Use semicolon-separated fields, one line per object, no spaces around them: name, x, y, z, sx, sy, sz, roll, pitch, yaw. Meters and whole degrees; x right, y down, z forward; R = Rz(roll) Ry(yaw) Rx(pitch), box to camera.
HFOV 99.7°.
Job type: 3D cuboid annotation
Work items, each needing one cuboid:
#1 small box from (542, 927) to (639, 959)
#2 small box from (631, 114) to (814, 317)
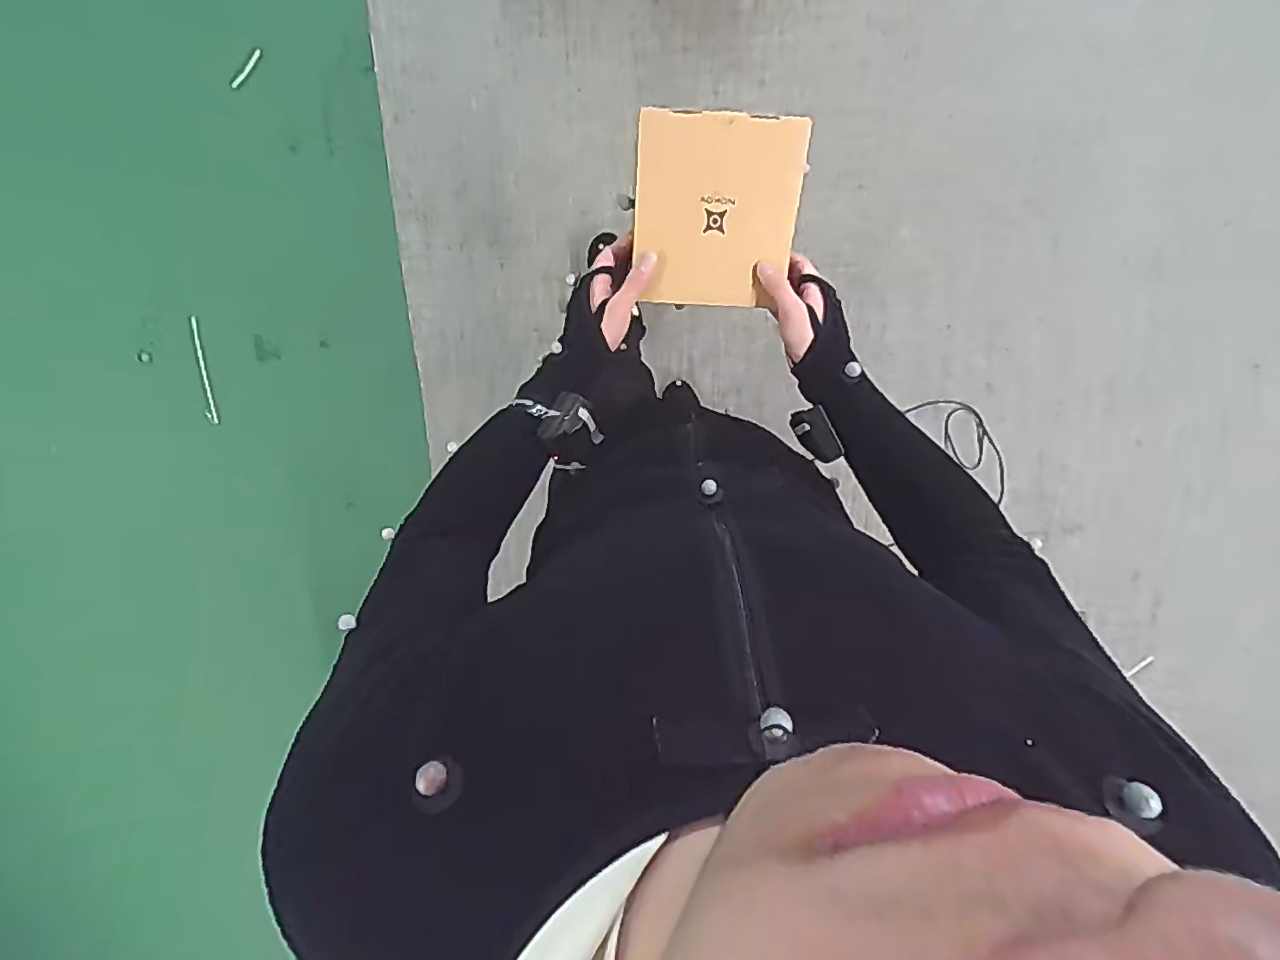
small box;-0.099;1.035;1.066;0.168;0.176;0.179;-37;100;11
small box;0.078;-0.291;0.612;0.168;0.176;0.179;3;114;-2
